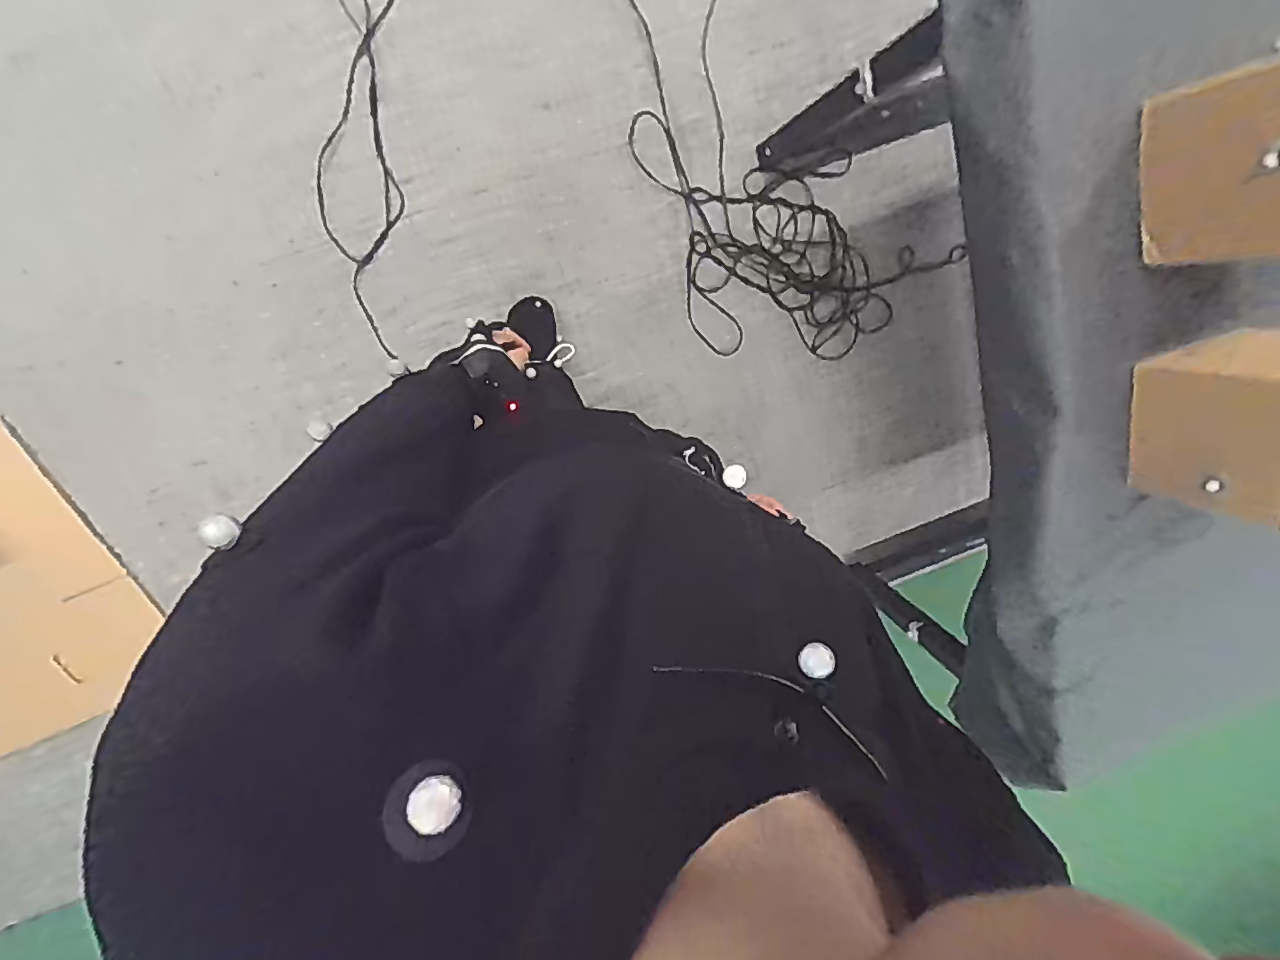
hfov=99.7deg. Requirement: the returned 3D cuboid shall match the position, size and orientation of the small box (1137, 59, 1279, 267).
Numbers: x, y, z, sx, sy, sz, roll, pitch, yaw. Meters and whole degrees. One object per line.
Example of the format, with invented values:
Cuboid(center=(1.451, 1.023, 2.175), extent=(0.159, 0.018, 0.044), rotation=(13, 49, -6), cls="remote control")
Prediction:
Cuboid(center=(0.655, -0.330, 0.545), extent=(0.168, 0.176, 0.179), rotation=(-20, 110, -3), cls="small box")
